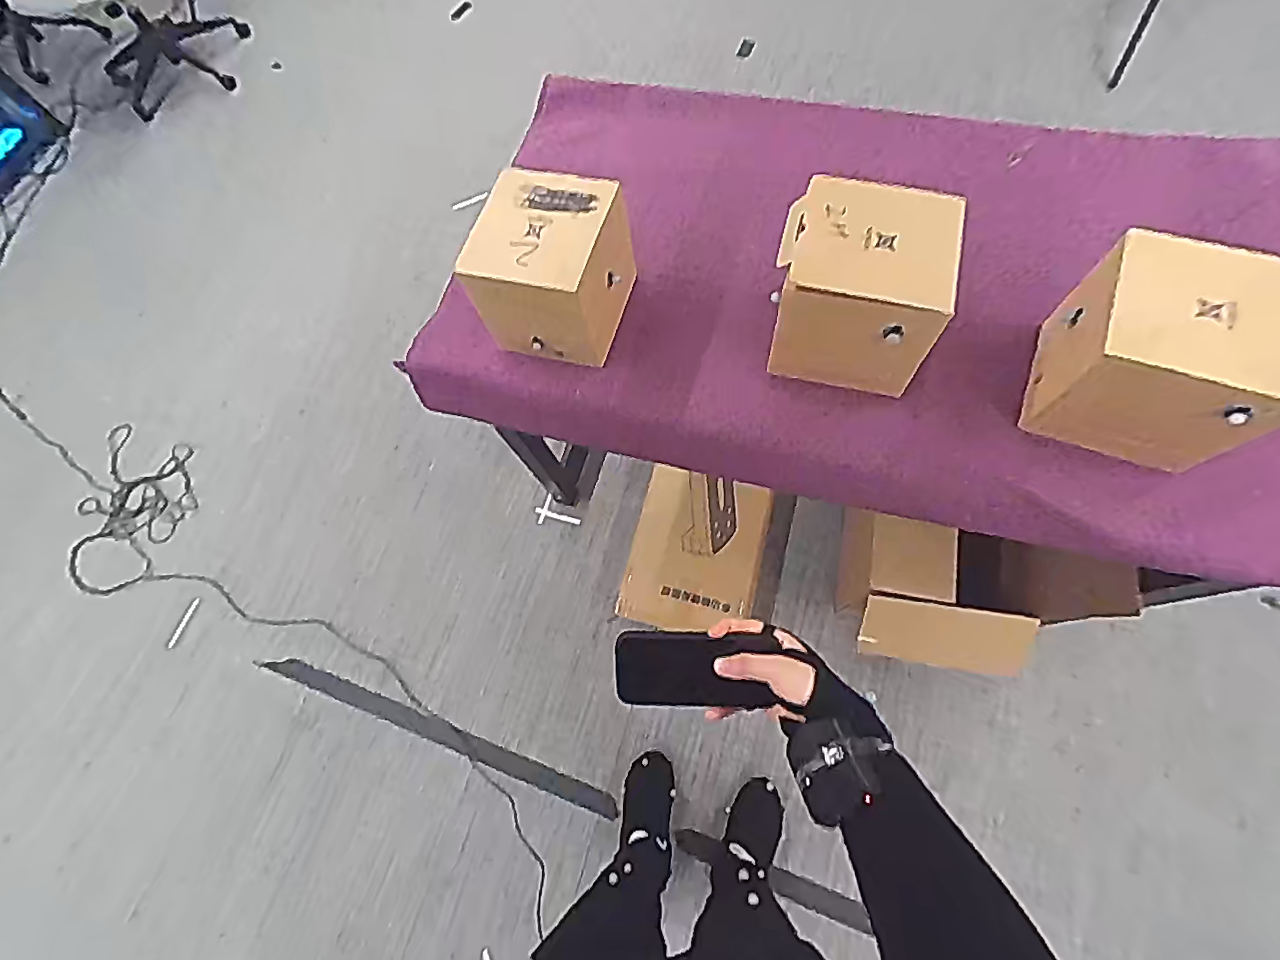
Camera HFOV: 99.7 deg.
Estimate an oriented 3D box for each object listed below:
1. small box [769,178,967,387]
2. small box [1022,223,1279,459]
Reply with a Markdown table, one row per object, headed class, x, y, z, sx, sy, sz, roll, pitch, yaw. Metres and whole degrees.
| class | x | y | z | sx | sy | sz | roll | pitch | yaw |
| --- | --- | --- | --- | --- | --- | --- | --- | --- | --- |
| small box | 0.269 | -0.234 | 0.668 | 0.179 | 0.176 | 0.168 | 13 | 69 | 12 |
| small box | 0.566 | -0.143 | 0.597 | 0.179 | 0.176 | 0.168 | 20 | 73 | 14 |
